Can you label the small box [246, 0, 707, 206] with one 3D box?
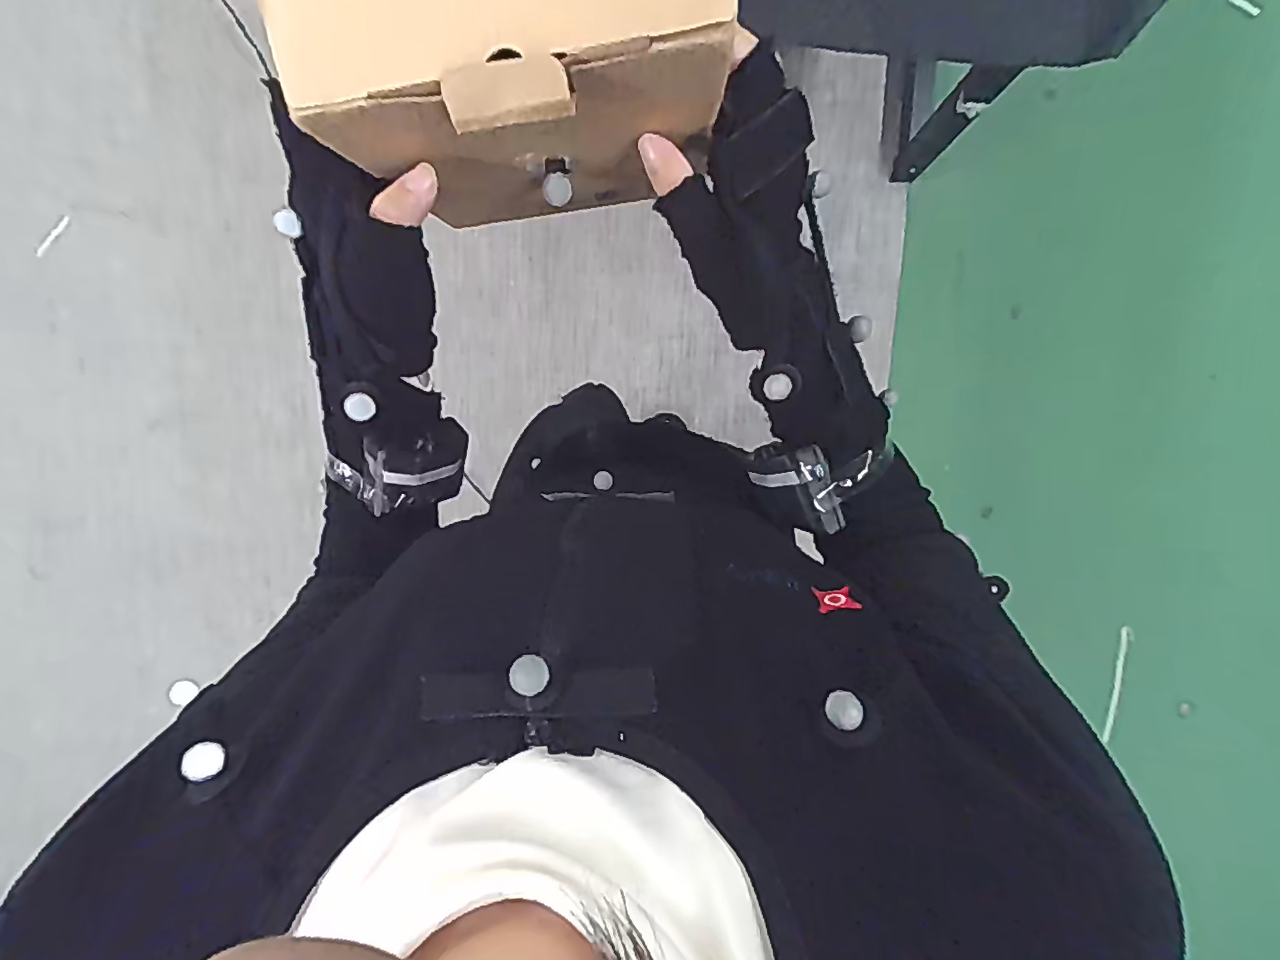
[{"bbox_3d":[-0.060,-0.245,0.254,0.168,0.176,0.179,-6,102,4],"label":"small box"}]
